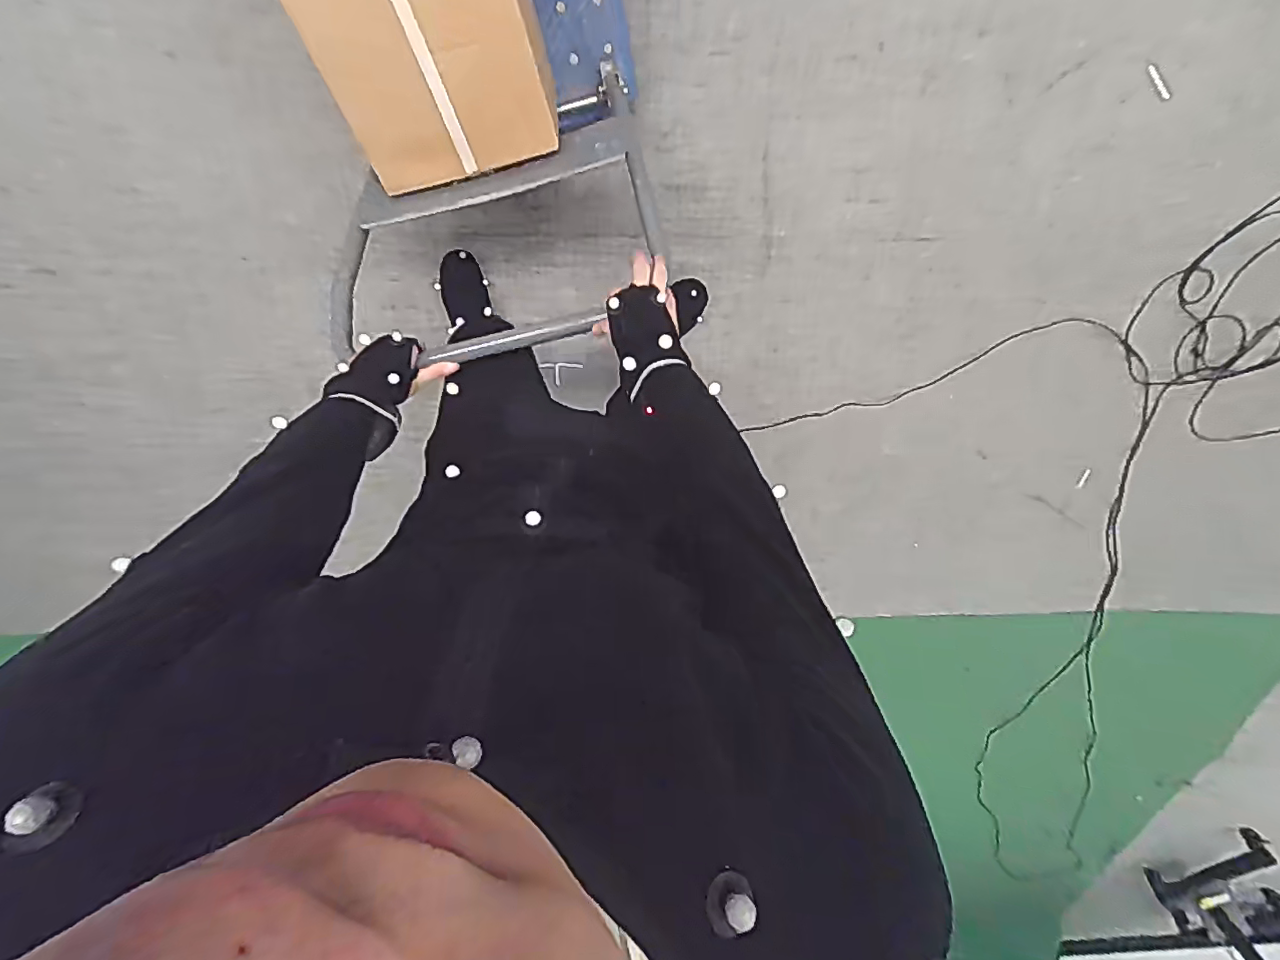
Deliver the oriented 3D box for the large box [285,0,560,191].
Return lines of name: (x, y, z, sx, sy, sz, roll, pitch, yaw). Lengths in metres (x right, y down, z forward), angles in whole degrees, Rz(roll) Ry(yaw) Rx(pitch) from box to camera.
large box: (-0.339, -0.766, 0.867, 0.320, 0.320, 0.408, -13, 140, 5)
